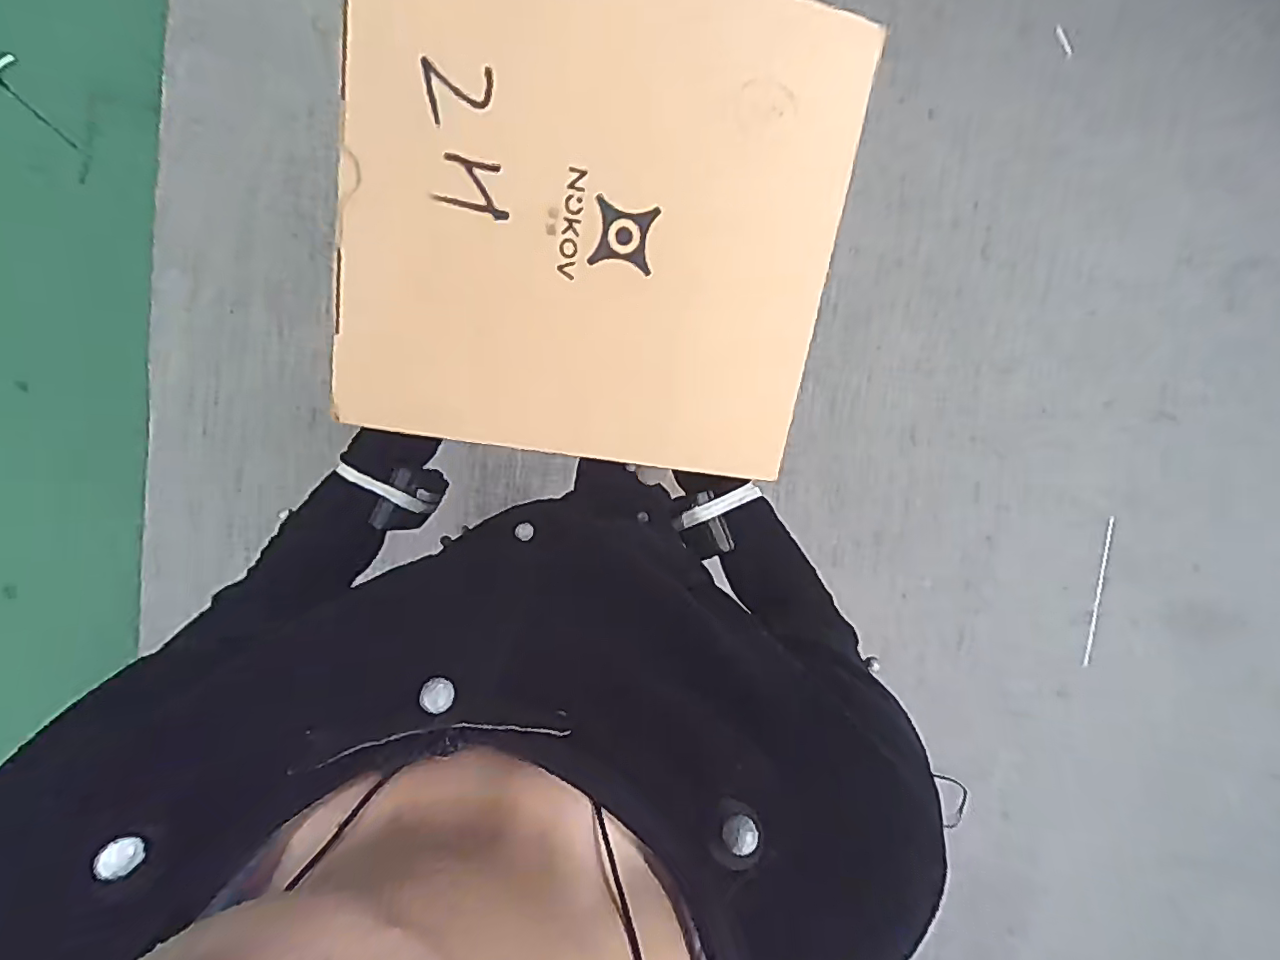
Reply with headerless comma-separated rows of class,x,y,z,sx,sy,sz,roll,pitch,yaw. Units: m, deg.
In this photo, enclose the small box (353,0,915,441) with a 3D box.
small box,-0.014,-0.127,0.265,0.179,0.176,0.168,8,104,-9
